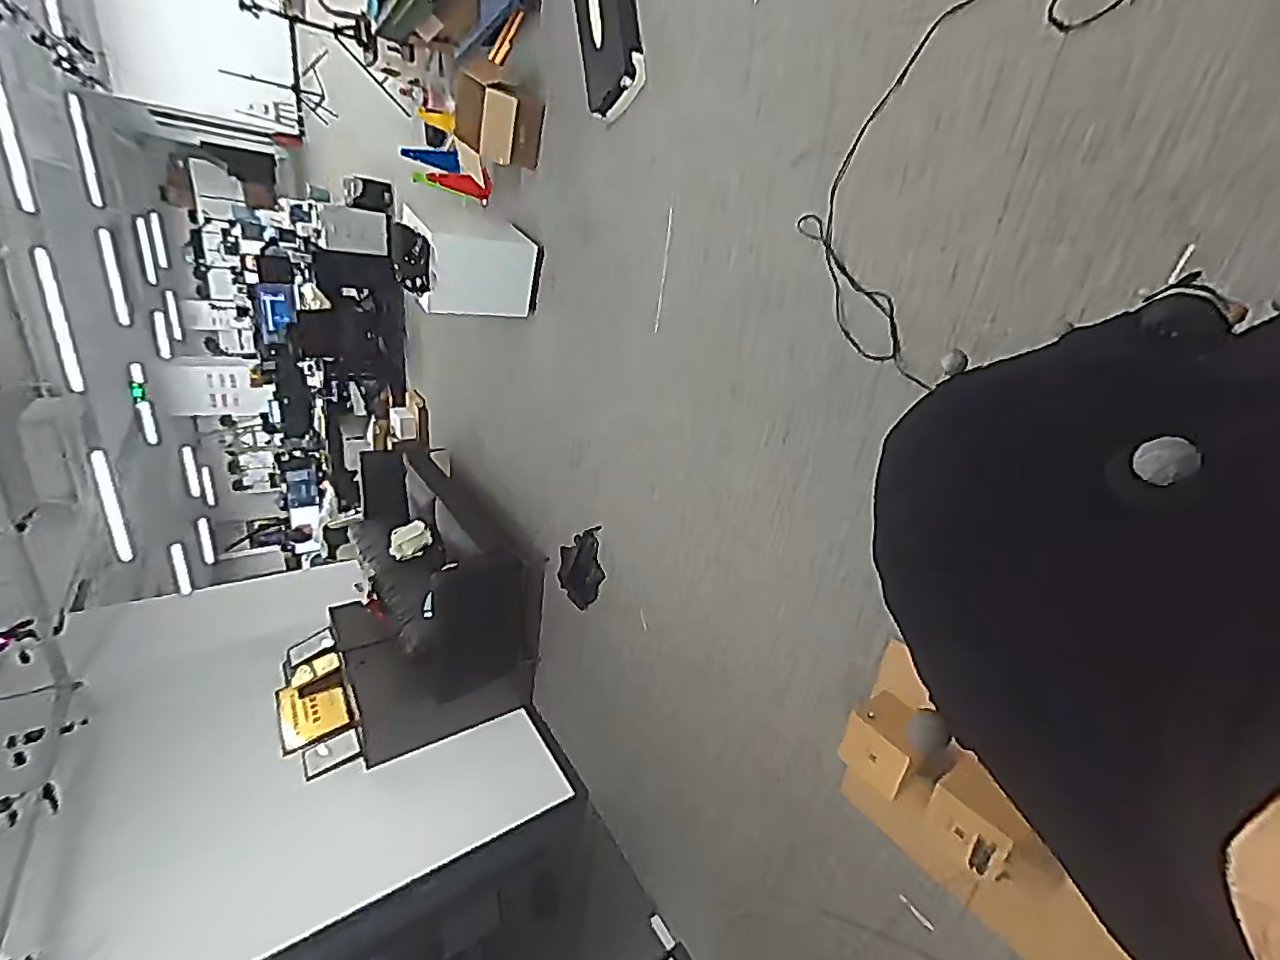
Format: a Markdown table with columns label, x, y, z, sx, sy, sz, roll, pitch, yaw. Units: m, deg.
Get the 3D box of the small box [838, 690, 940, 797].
| label | x | y | z | sx | sy | sz | roll | pitch | yaw |
| --- | --- | --- | --- | --- | --- | --- | --- | --- | --- |
| small box | 0.686 | 0.713 | 1.488 | 0.179 | 0.176 | 0.168 | 34 | 124 | 47 |
